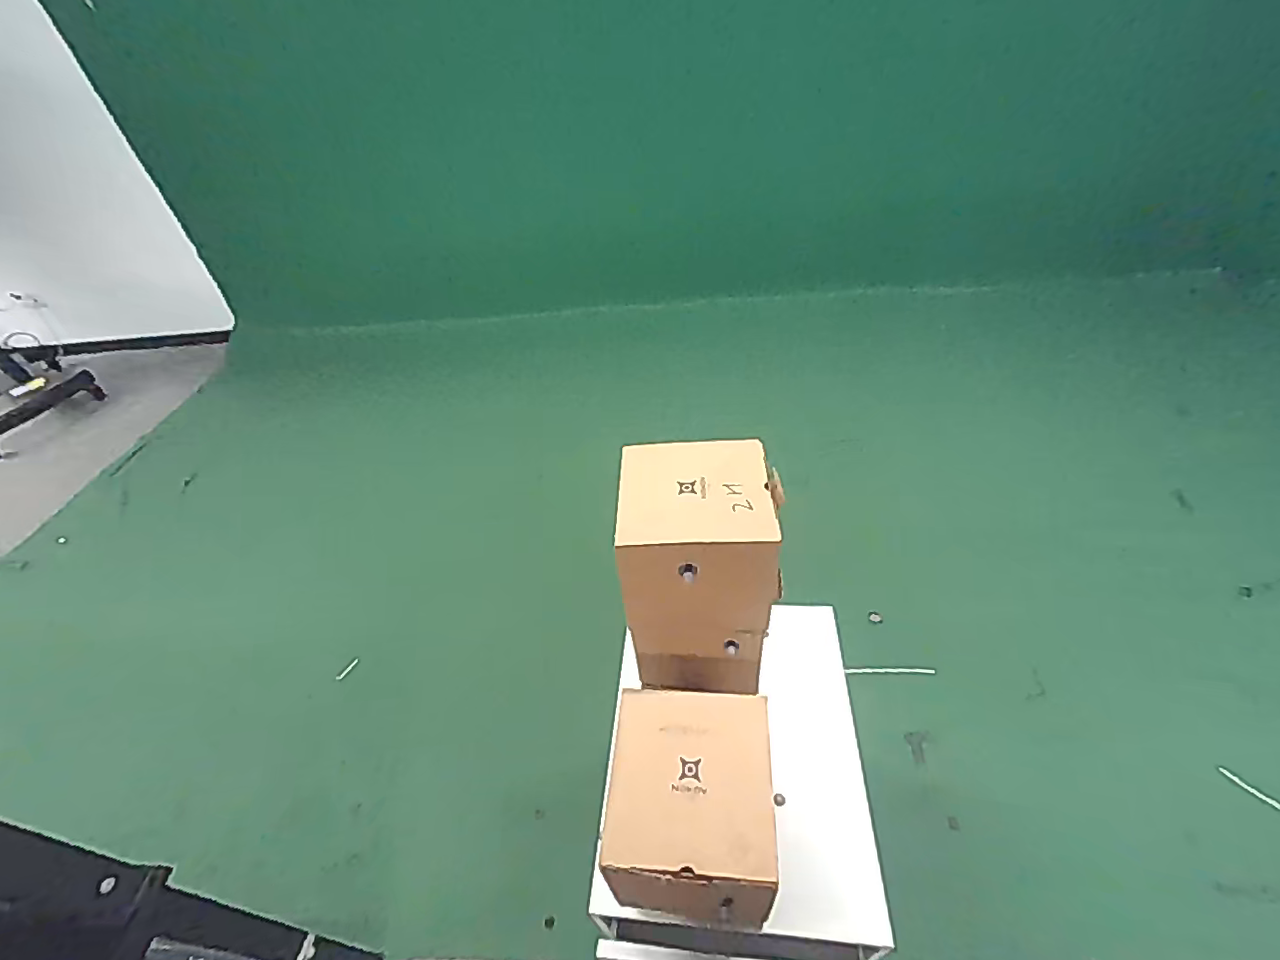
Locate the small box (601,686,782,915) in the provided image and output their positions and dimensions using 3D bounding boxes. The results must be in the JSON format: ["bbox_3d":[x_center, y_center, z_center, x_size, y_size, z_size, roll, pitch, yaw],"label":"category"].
[{"bbox_3d":[0.060,0.351,0.593,0.168,0.176,0.179,0,42,7],"label":"small box"}]

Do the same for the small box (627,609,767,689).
[{"bbox_3d":[0.088,0.180,0.775,0.179,0.176,0.168,3,43,10],"label":"small box"}]

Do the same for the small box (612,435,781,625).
[{"bbox_3d":[0.067,0.064,0.660,0.179,0.176,0.168,-2,44,5],"label":"small box"}]
